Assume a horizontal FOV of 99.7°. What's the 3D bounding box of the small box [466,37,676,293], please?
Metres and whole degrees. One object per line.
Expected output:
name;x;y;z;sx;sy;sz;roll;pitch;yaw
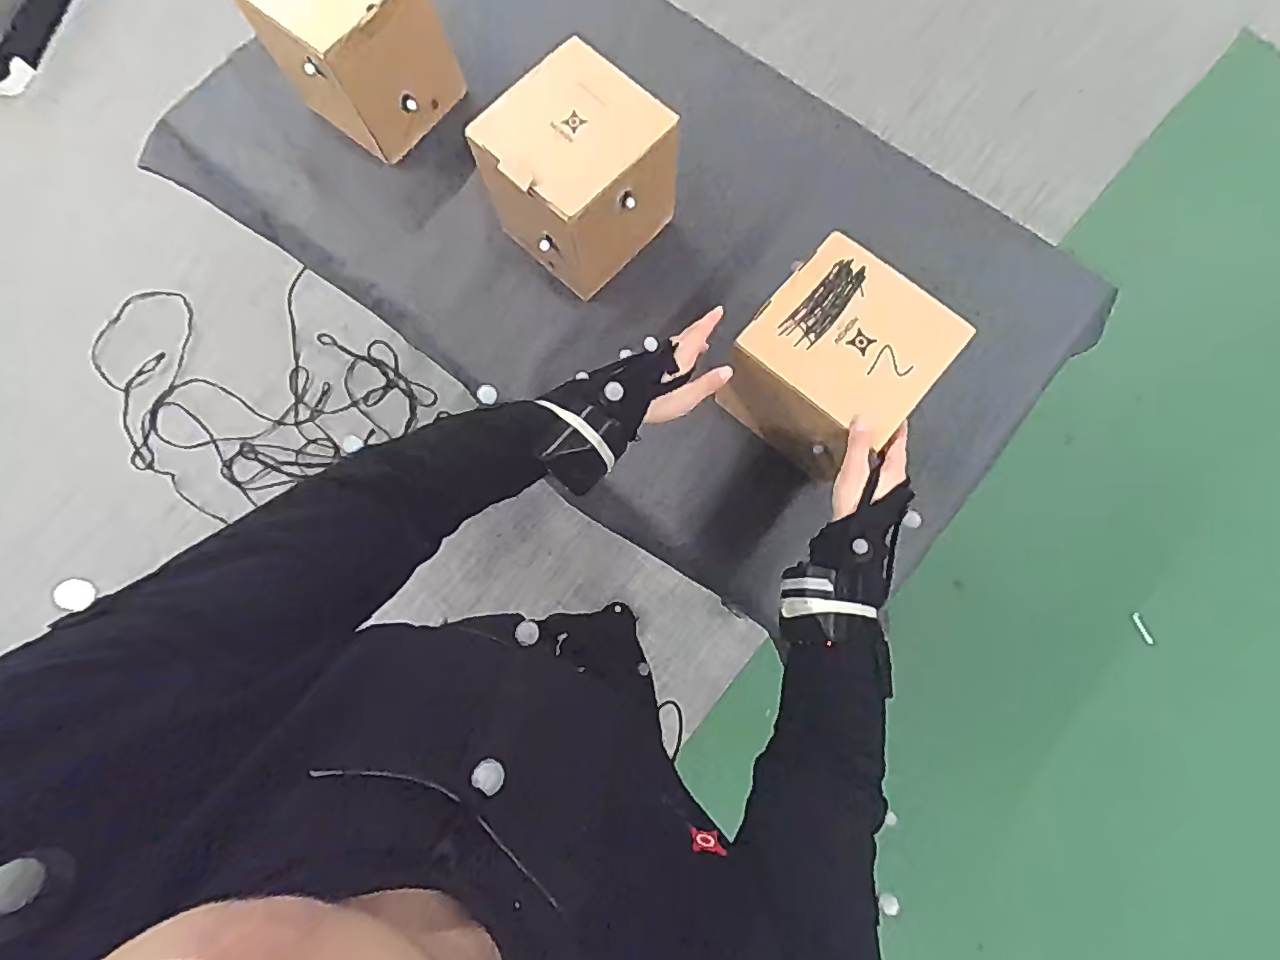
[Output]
small box;-0.073;-0.369;0.665;0.168;0.176;0.179;43;81;7

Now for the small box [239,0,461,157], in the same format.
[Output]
small box;-0.373;-0.577;0.713;0.179;0.176;0.168;37;81;7
